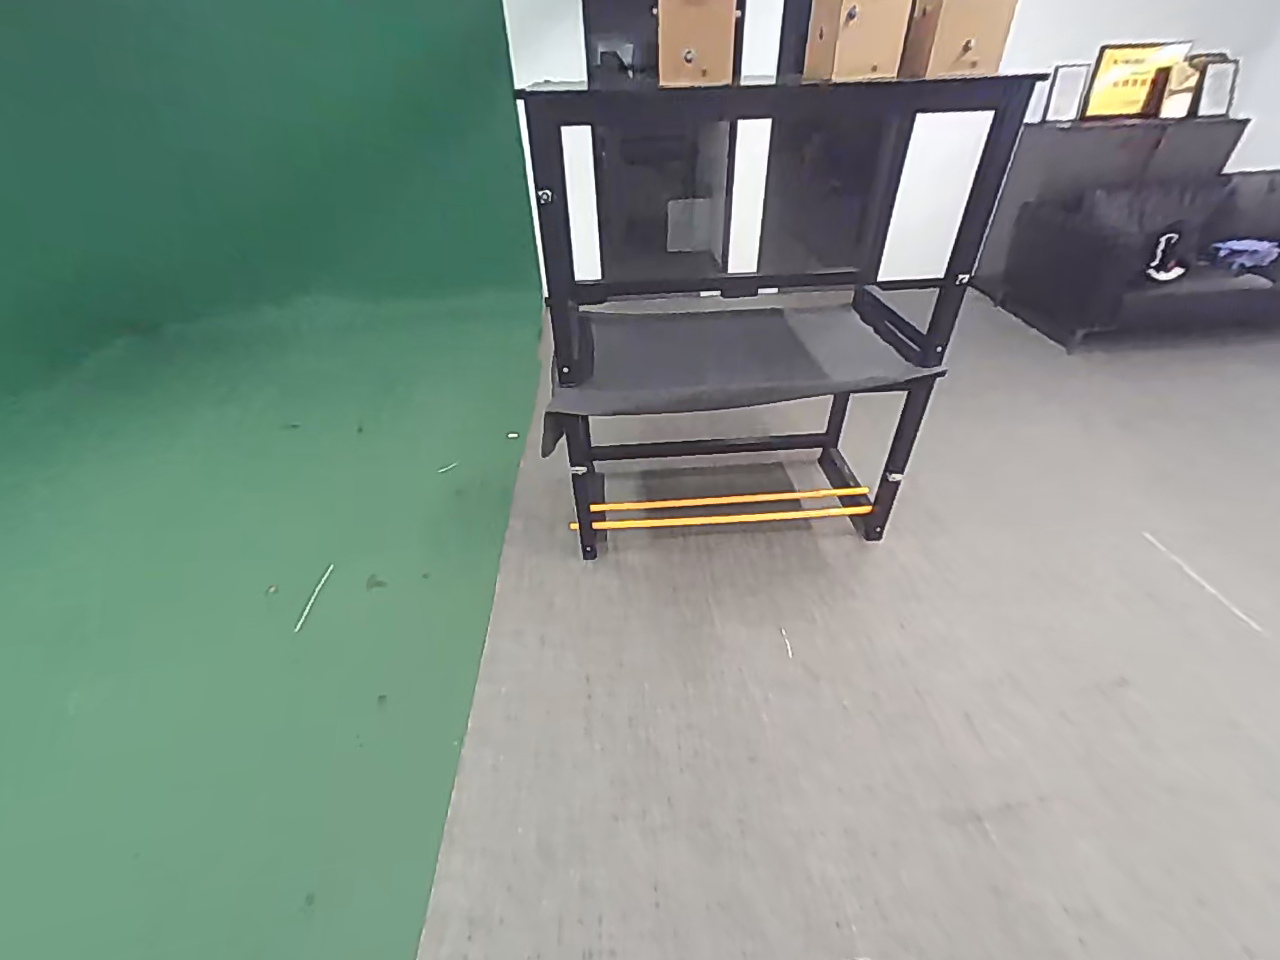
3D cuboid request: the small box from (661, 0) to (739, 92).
[{"bbox_3d":[0.136,-1.015,1.261,0.168,0.176,0.179,2,38,4],"label":"small box"}]
